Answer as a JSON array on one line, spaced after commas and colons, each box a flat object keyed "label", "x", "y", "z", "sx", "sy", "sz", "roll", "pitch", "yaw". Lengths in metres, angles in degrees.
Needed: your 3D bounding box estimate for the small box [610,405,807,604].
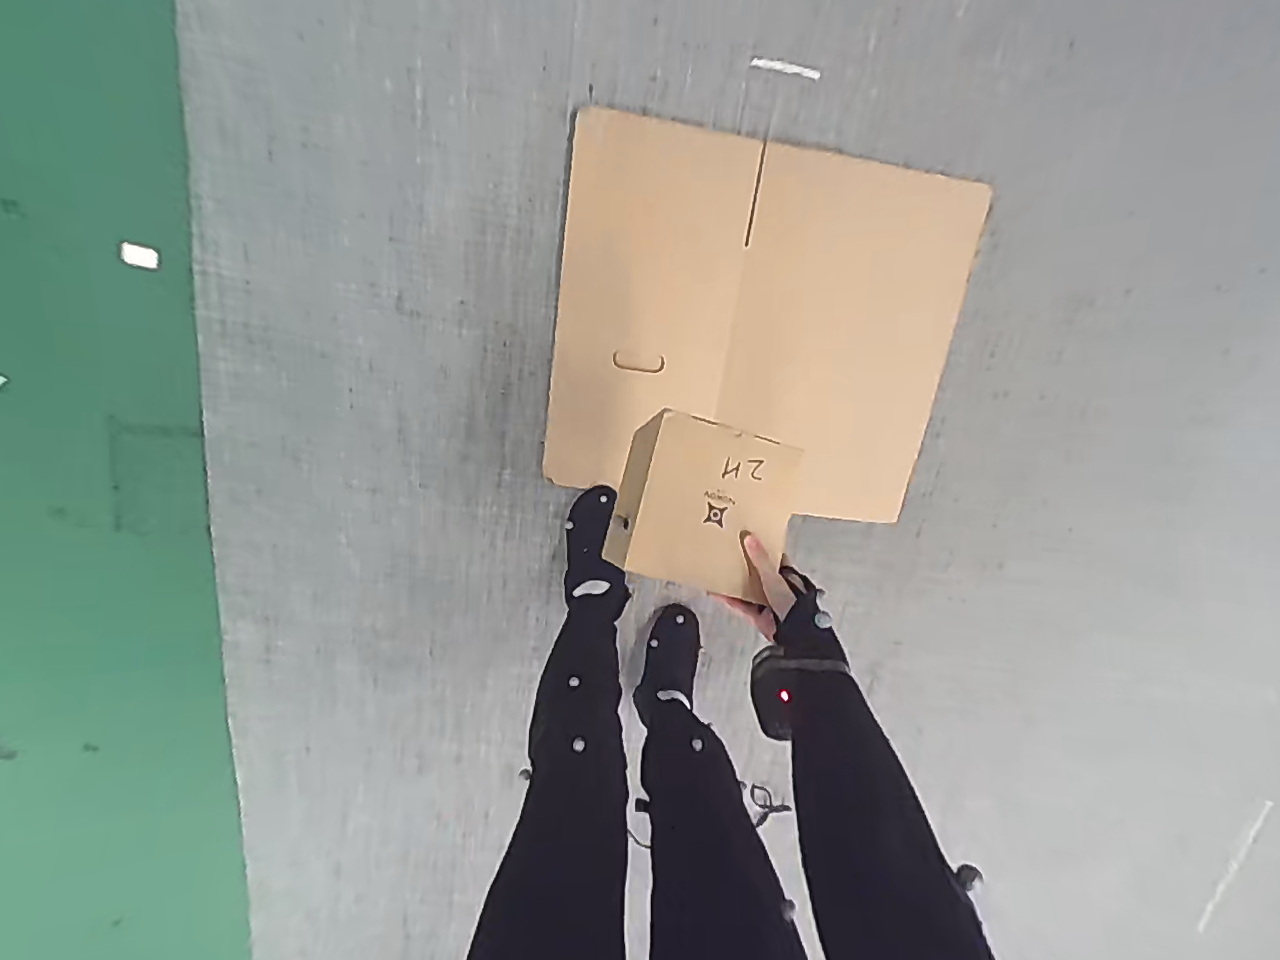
[{"label": "small box", "x": 0.068, "y": 0.032, "z": 0.645, "sx": 0.168, "sy": 0.176, "sz": 0.179, "roll": 17, "pitch": 83, "yaw": -11}]
